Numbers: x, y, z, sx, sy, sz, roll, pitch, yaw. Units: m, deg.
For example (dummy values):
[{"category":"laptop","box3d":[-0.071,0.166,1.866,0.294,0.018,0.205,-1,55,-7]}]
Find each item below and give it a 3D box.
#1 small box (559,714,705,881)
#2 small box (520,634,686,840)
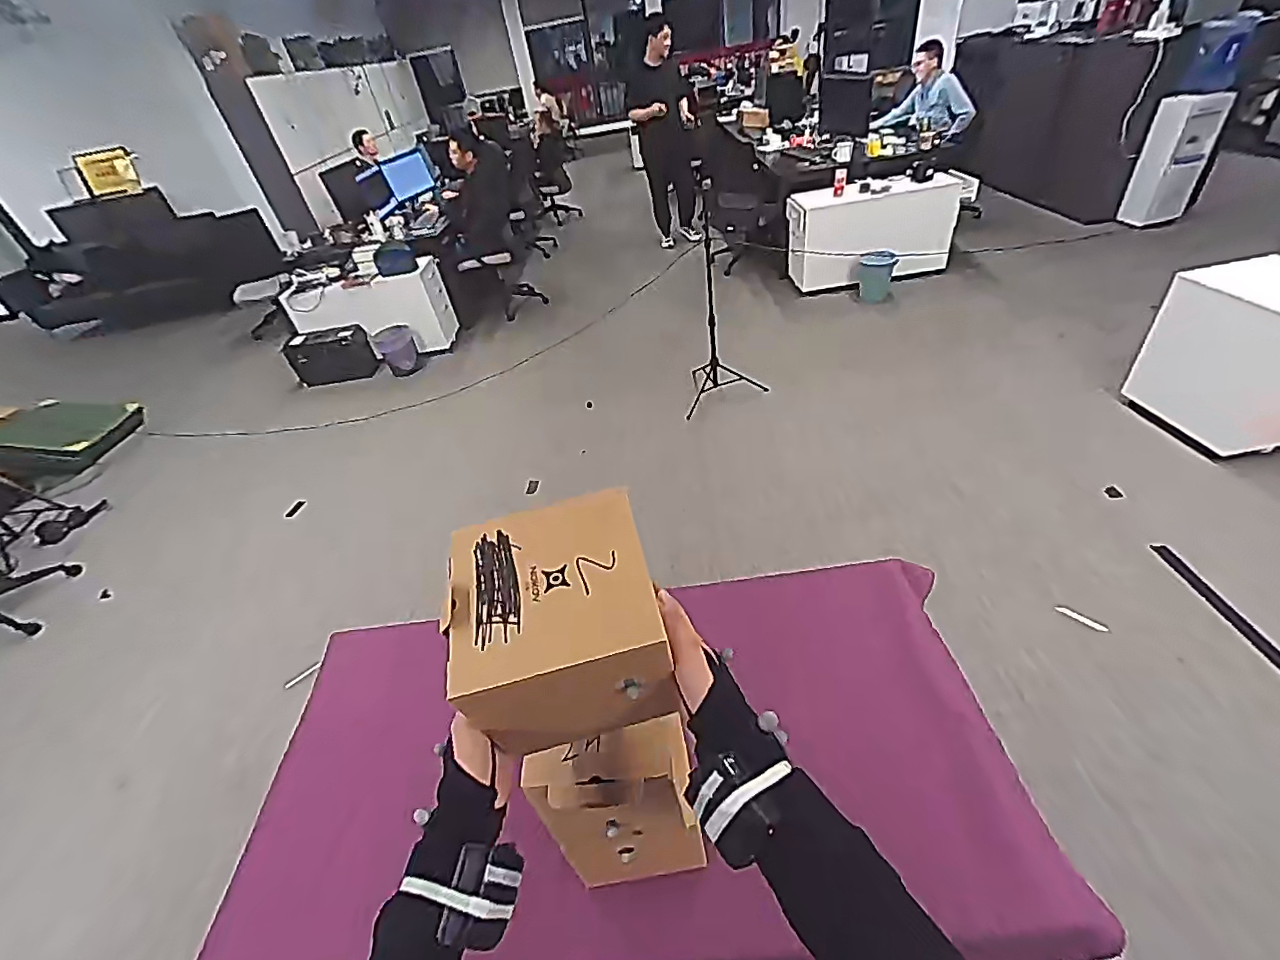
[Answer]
[{"category":"small box","box3d":[-0.011,0.448,0.777,0.179,0.176,0.168,-10,39,0]},{"category":"small box","box3d":[-0.035,0.320,0.677,0.168,0.176,0.179,-7,39,5]}]
